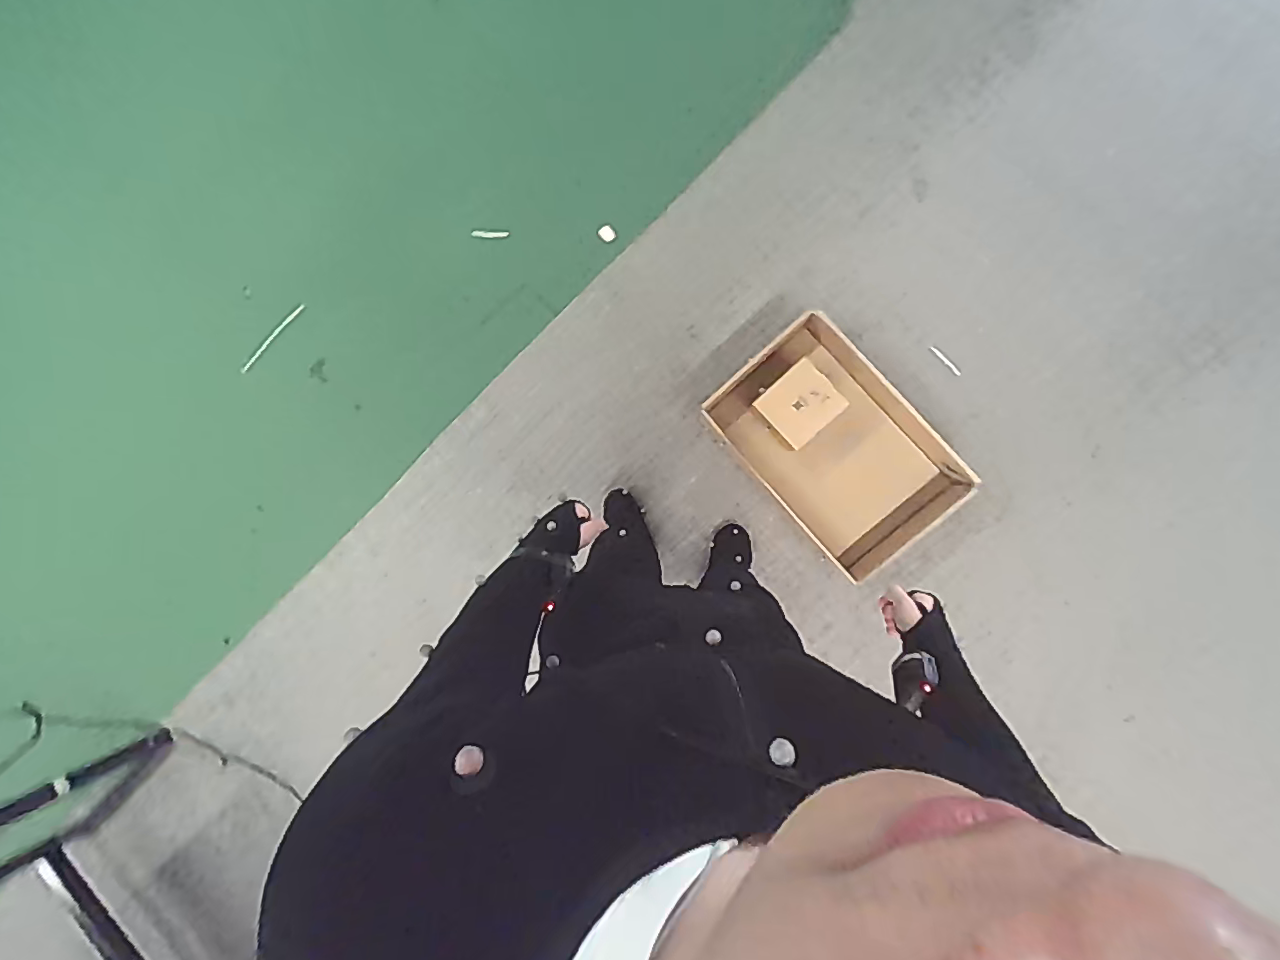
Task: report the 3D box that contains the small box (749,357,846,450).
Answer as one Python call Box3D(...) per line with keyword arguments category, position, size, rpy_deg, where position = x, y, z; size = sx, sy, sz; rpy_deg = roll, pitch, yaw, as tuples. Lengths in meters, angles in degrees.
Box3D(category="small box", position=(0.404, -0.192, 1.423), size=(0.179, 0.176, 0.168), rpy_deg=(-42, 87, 6))
